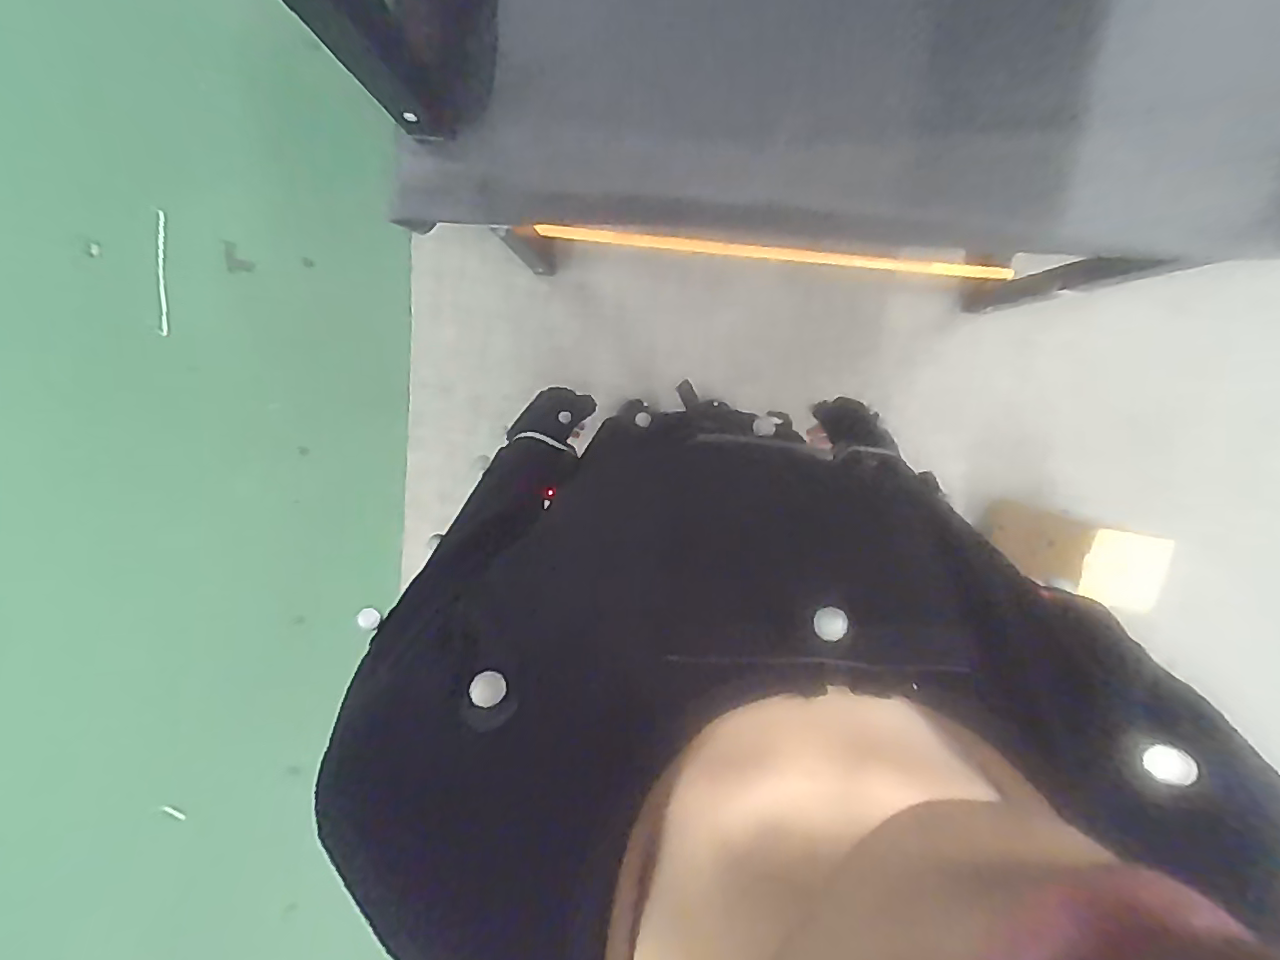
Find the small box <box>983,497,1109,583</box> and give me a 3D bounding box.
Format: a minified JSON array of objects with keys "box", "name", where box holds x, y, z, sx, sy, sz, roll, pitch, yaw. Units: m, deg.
[{"box":[1.049,0.150,1.411,0.179,0.176,0.168,11,99,0],"name":"small box"}]
